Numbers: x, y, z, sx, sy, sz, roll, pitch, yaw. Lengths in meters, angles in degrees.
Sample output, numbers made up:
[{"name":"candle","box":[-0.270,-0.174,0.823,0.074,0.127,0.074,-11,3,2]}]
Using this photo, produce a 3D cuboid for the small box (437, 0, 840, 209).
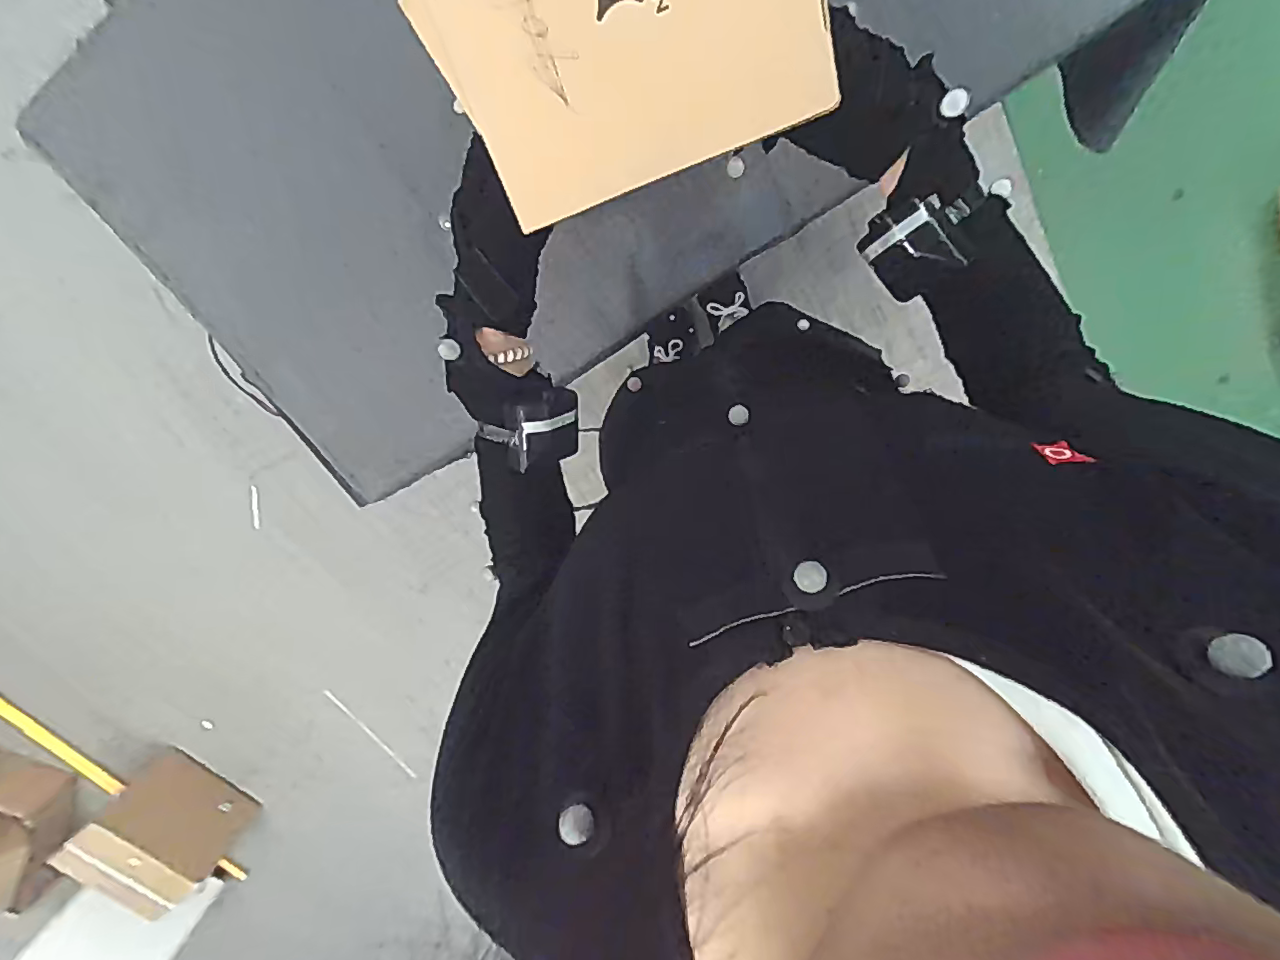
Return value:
[{"name":"small box","box":[-0.010,-0.274,0.309,0.179,0.176,0.168,-17,117,8]}]

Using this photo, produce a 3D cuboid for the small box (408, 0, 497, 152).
[{"name":"small box","box":[-0.088,-0.412,0.534,0.168,0.176,0.179,-29,107,13]}]
